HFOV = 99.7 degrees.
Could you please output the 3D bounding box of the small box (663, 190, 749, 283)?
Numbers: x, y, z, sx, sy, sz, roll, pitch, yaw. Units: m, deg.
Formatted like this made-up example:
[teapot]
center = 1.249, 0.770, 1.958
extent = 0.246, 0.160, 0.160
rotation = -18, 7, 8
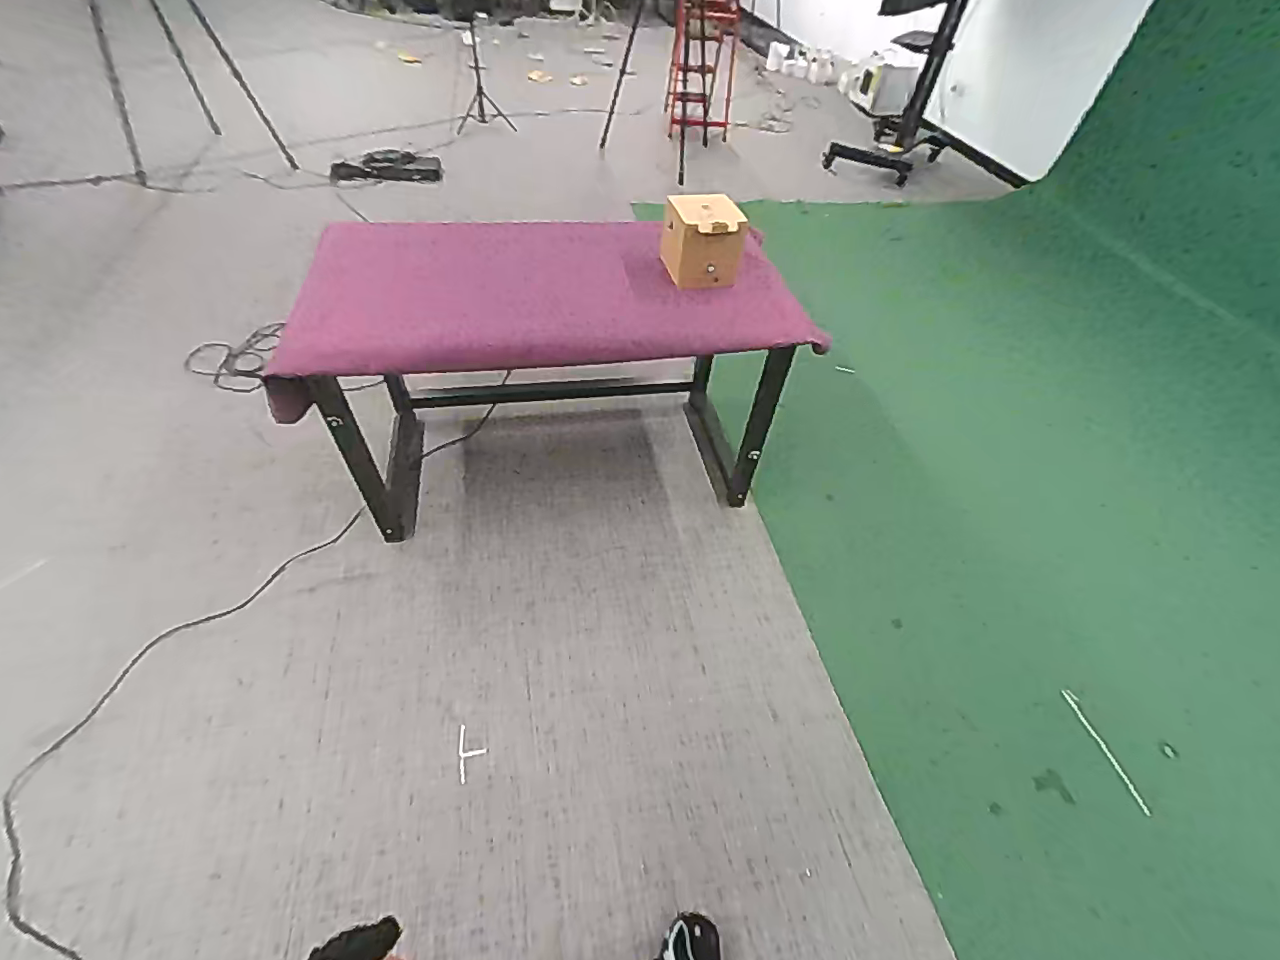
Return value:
[small box]
center = 0.164, -0.637, 1.417
extent = 0.168, 0.176, 0.179
rotation = -8, 51, -11
